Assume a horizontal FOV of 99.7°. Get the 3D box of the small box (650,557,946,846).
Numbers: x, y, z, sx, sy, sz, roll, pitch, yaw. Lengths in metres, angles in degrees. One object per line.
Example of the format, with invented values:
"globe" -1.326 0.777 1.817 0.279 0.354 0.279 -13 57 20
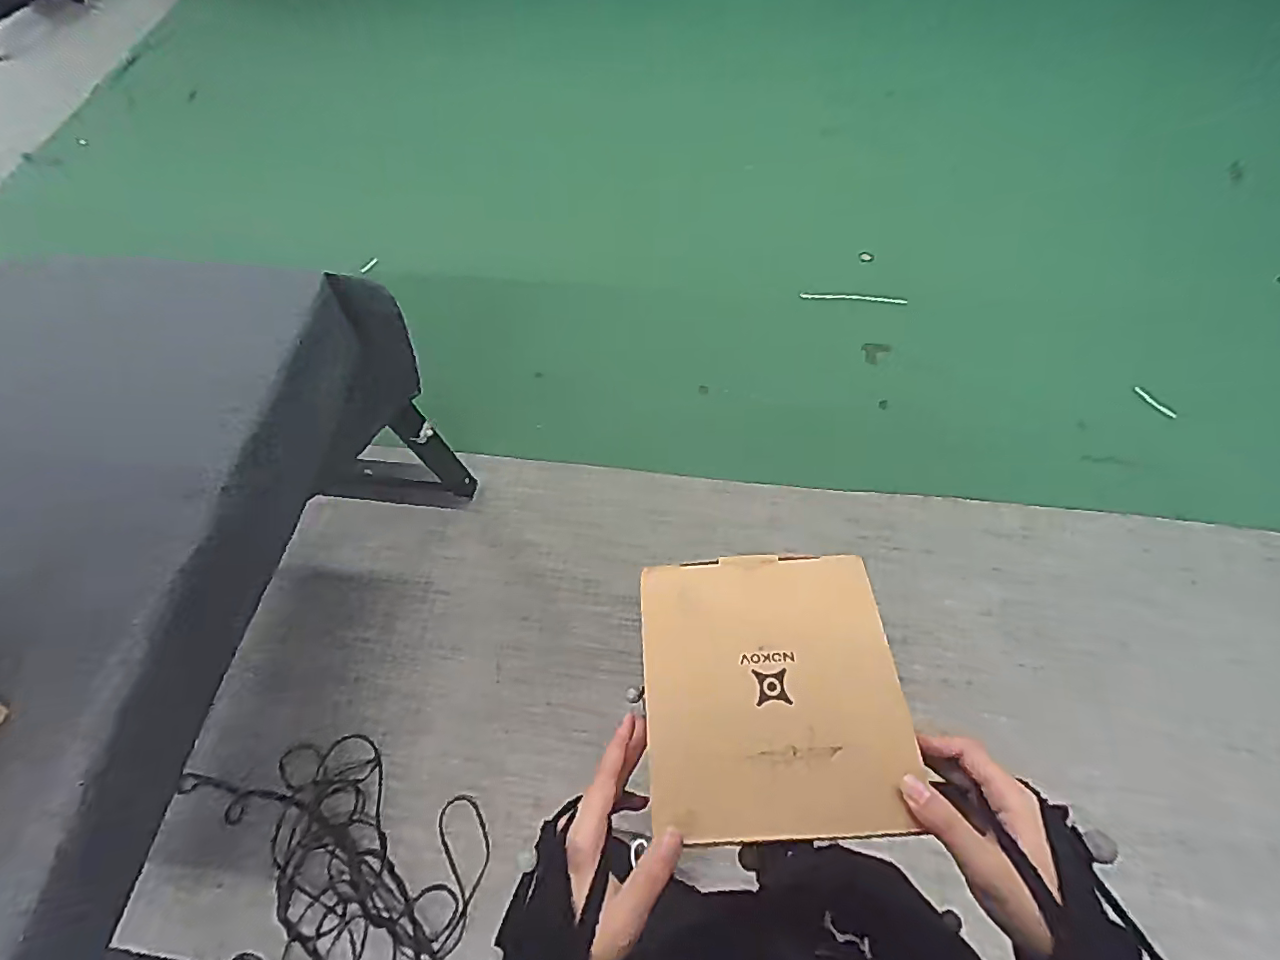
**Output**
"small box" 0.091 0.175 0.417 0.168 0.176 0.179 -2 57 1
